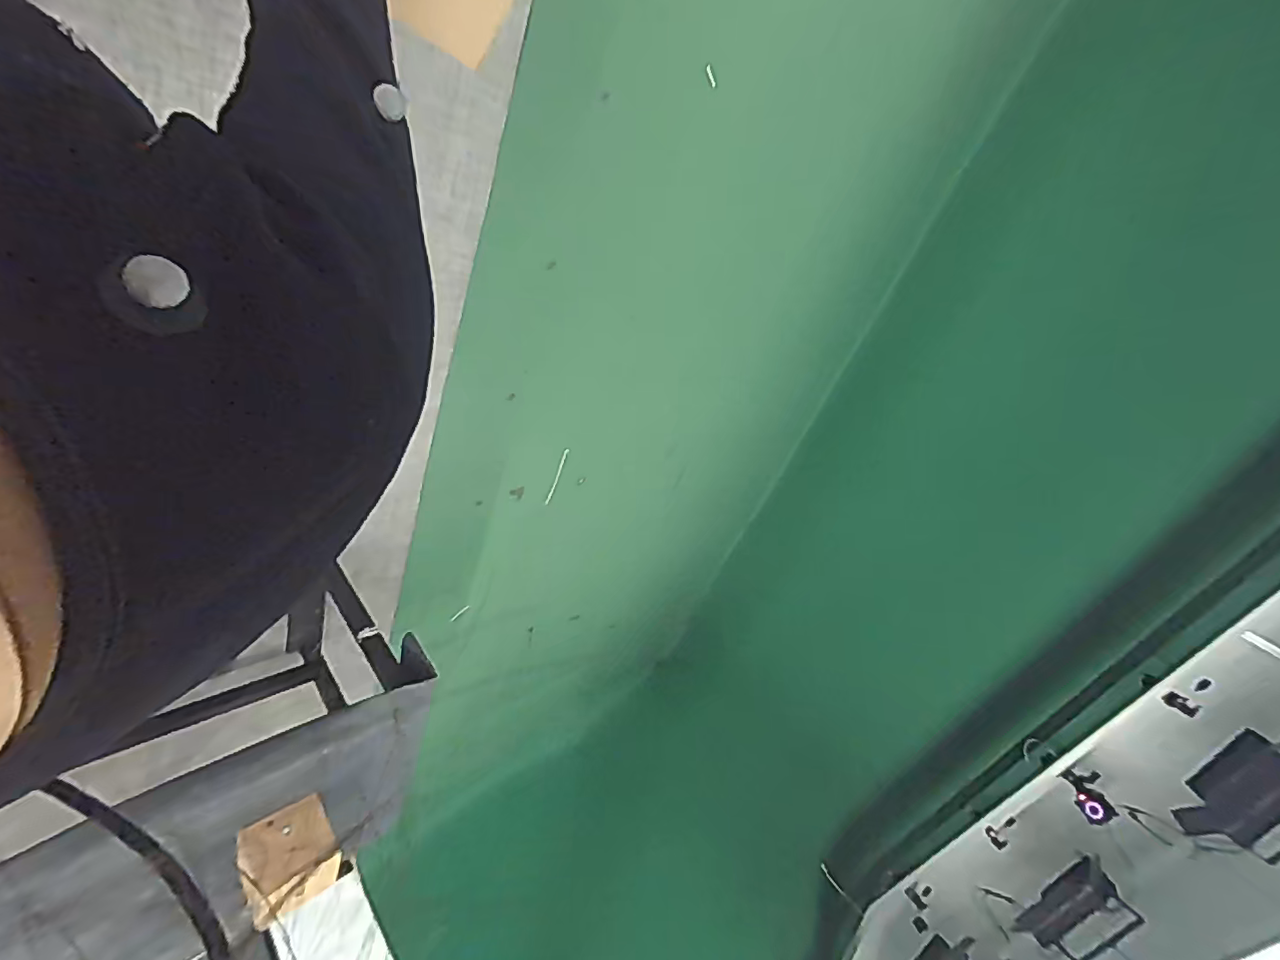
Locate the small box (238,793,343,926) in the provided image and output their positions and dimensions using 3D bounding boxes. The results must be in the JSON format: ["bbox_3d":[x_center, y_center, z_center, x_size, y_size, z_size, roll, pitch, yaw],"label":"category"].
[{"bbox_3d":[-0.841,0.901,1.298,0.168,0.176,0.179,-12,135,-48],"label":"small box"}]
